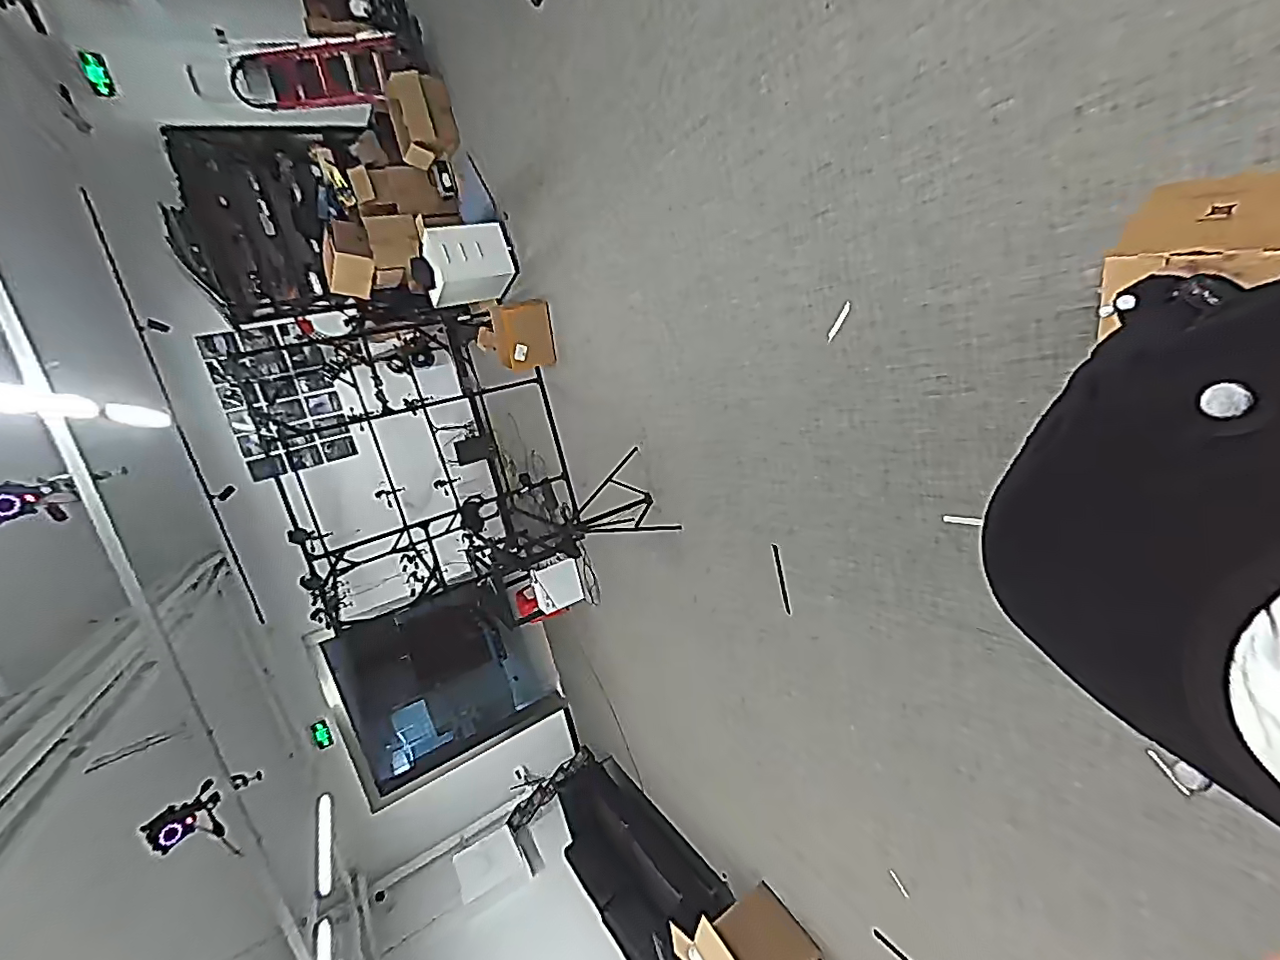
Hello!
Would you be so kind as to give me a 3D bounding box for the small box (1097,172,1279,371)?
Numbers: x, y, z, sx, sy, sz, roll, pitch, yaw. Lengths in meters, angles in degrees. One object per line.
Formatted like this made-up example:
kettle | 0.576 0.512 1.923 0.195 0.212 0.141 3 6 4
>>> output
small box | 0.720 -0.261 0.693 0.168 0.179 0.176 24 154 48
